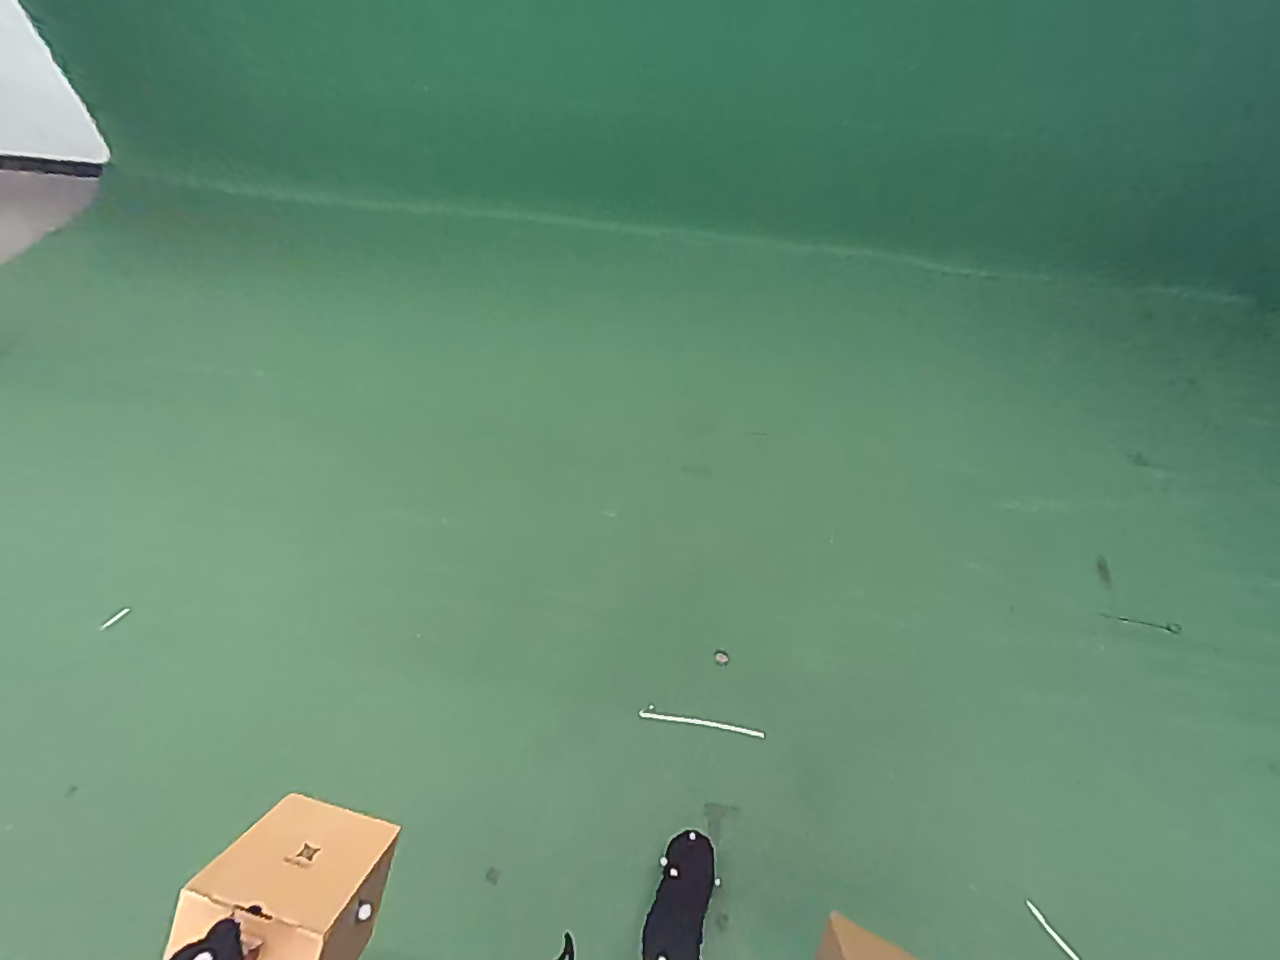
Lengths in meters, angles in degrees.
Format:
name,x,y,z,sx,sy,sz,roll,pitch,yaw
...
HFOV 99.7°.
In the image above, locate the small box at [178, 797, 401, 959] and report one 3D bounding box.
name,x,y,z,sx,sy,sz,roll,pitch,yaw
small box,-0.435,0.547,0.673,0.168,0.179,0.176,16,92,2
